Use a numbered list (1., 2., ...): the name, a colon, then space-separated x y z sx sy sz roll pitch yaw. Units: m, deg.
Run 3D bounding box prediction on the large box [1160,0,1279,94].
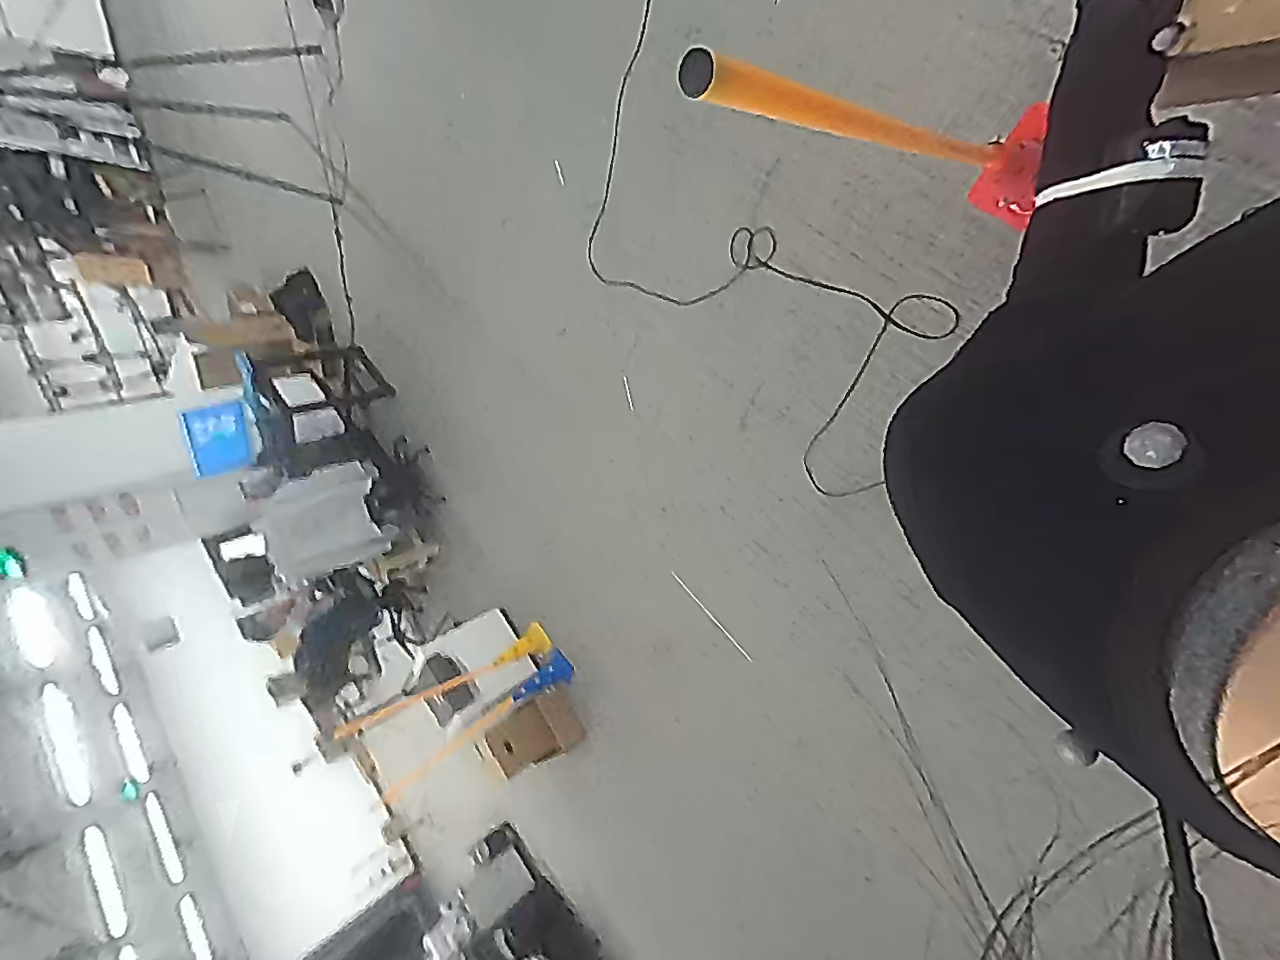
1. large box: 0.586 -0.439 0.280 0.408 0.320 0.320 15 121 37
